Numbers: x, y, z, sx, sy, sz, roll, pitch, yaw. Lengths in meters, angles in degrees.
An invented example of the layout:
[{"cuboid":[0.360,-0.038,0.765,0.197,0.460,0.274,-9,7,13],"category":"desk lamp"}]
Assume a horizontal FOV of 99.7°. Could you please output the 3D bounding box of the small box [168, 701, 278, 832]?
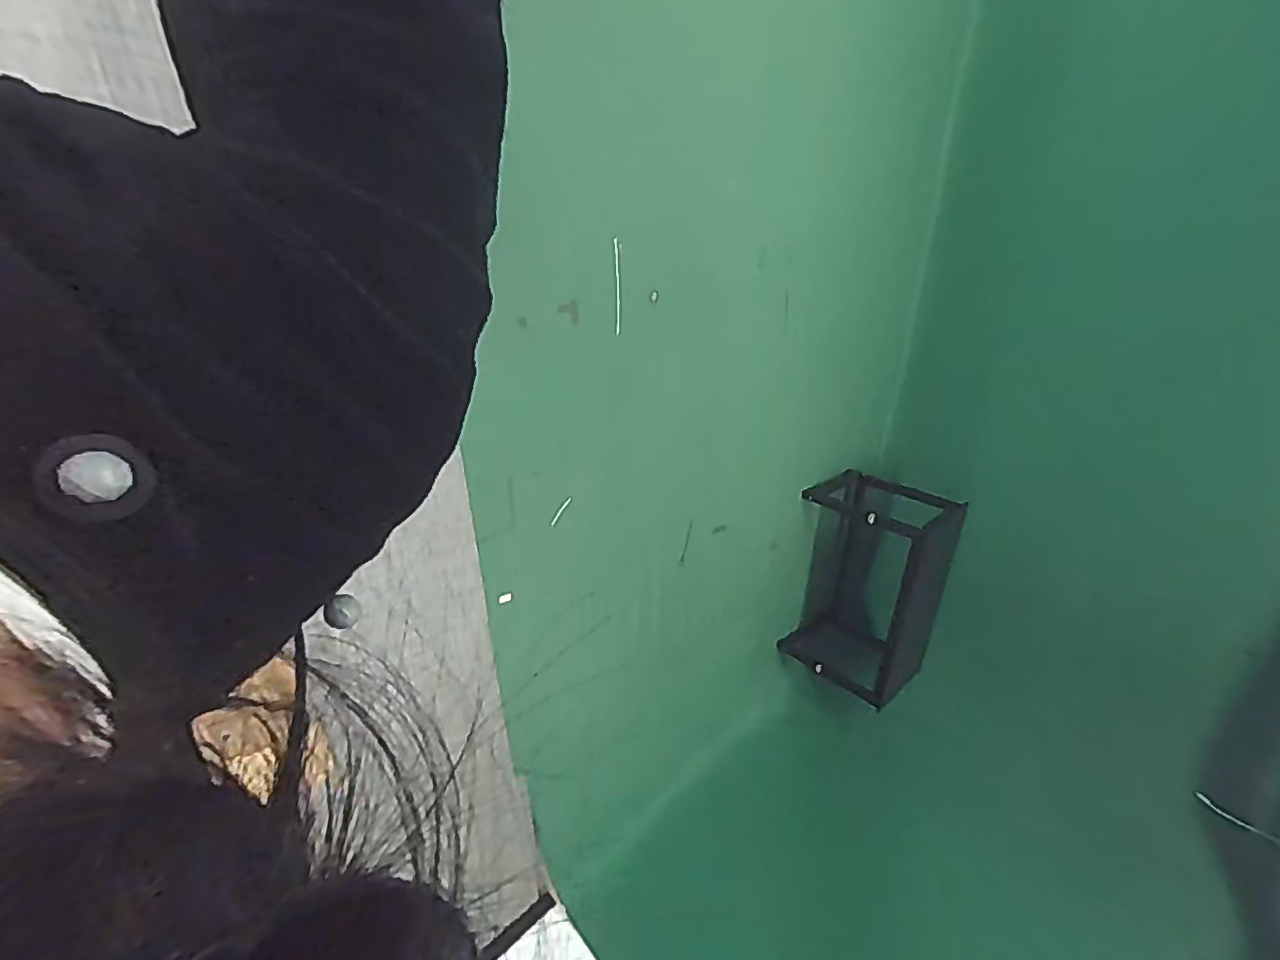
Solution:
[{"cuboid":[-0.948,0.635,1.229,0.168,0.176,0.179,-13,117,-40],"category":"small box"}]
